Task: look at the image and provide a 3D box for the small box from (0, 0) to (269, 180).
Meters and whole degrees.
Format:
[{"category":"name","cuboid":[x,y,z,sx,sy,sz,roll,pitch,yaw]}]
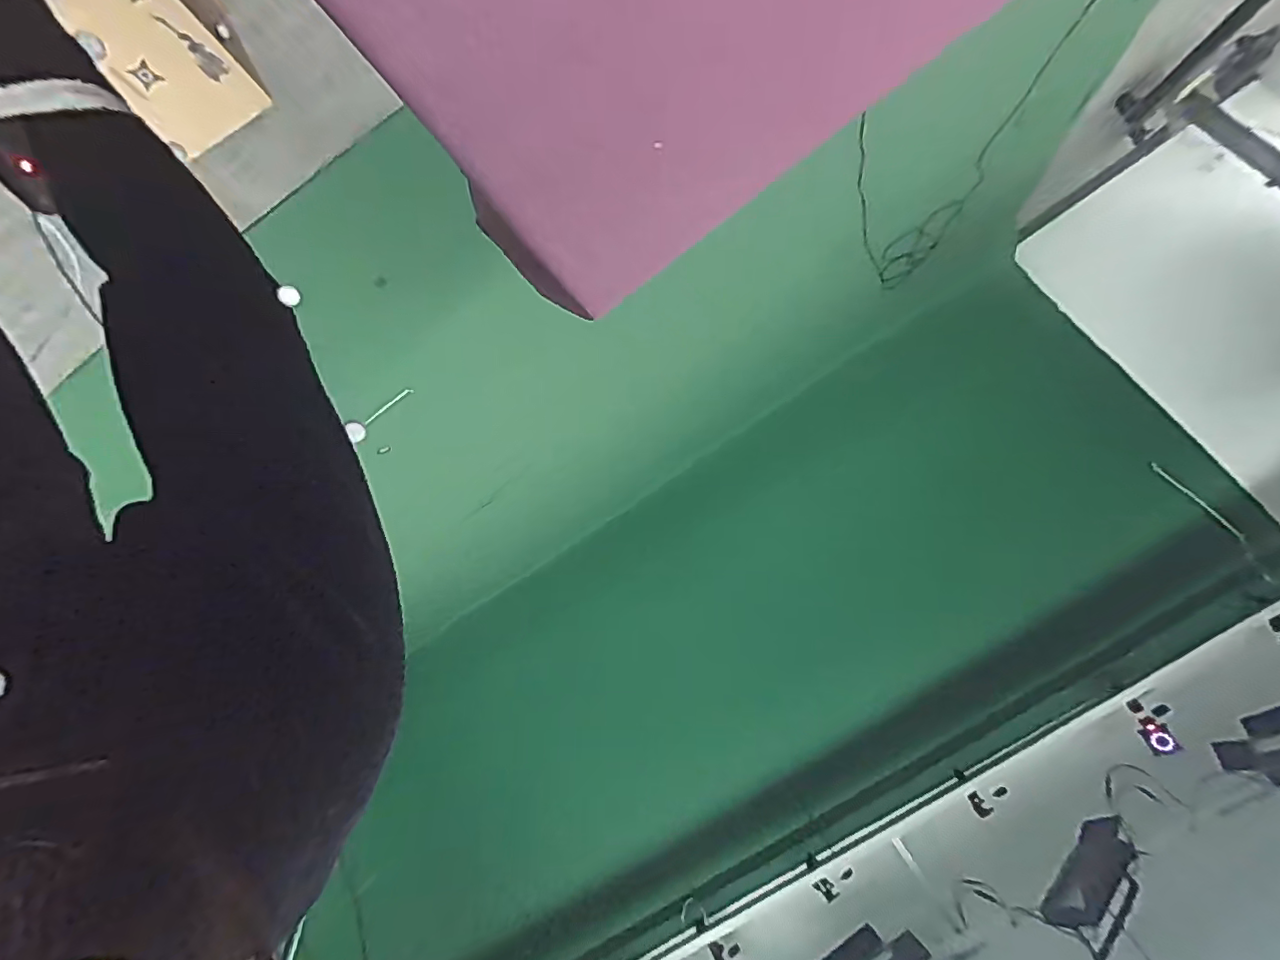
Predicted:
[{"category":"small box","cuboid":[-0.544,-0.470,0.561,0.179,0.176,0.168,-32,166,1]}]
